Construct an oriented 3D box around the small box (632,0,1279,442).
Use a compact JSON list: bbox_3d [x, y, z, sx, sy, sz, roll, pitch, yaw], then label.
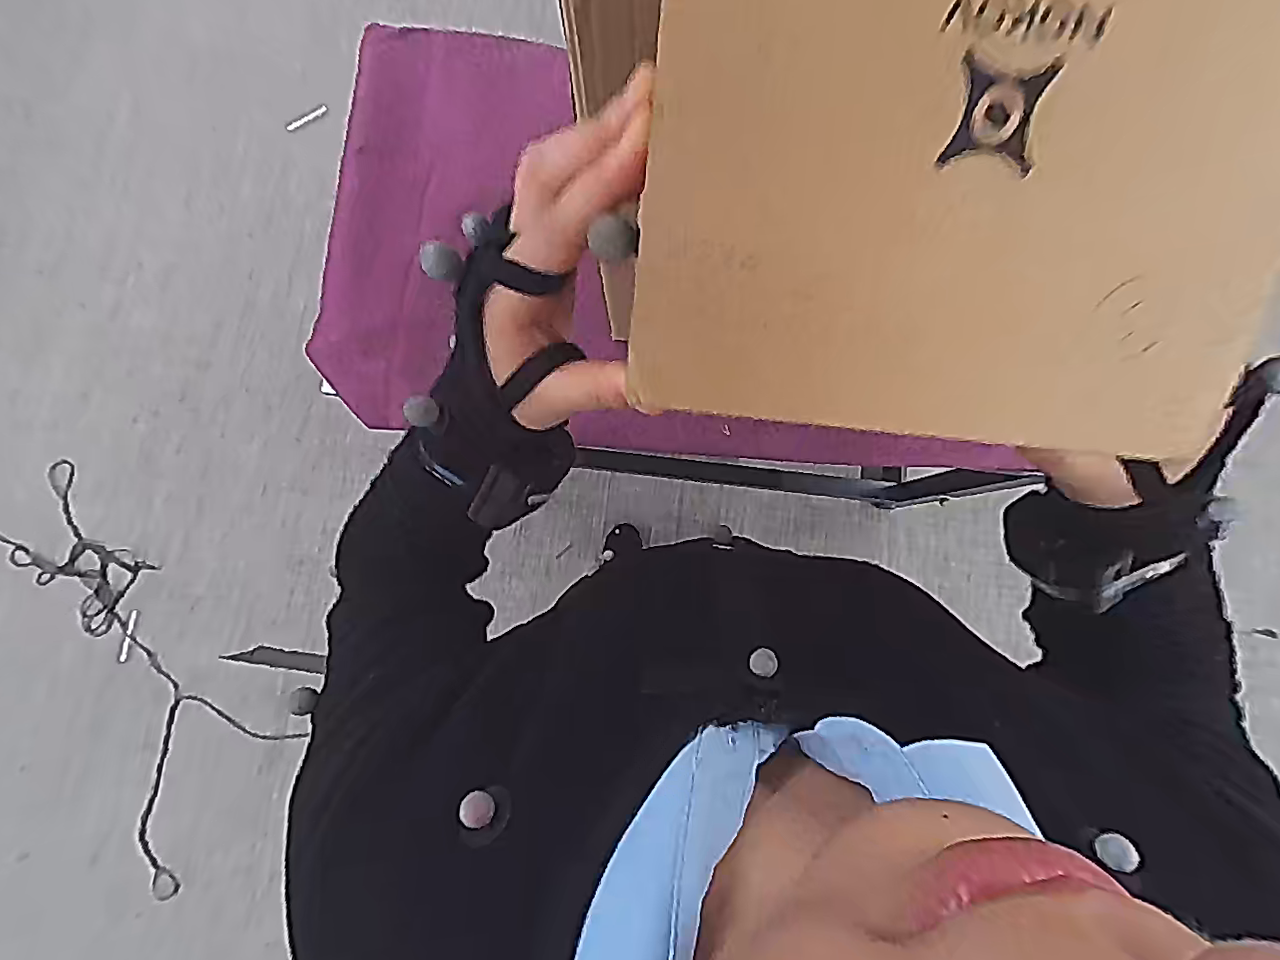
[{"bbox_3d":[0.089,-0.126,0.187,0.168,0.176,0.179,5,110,-1],"label":"small box"}]
